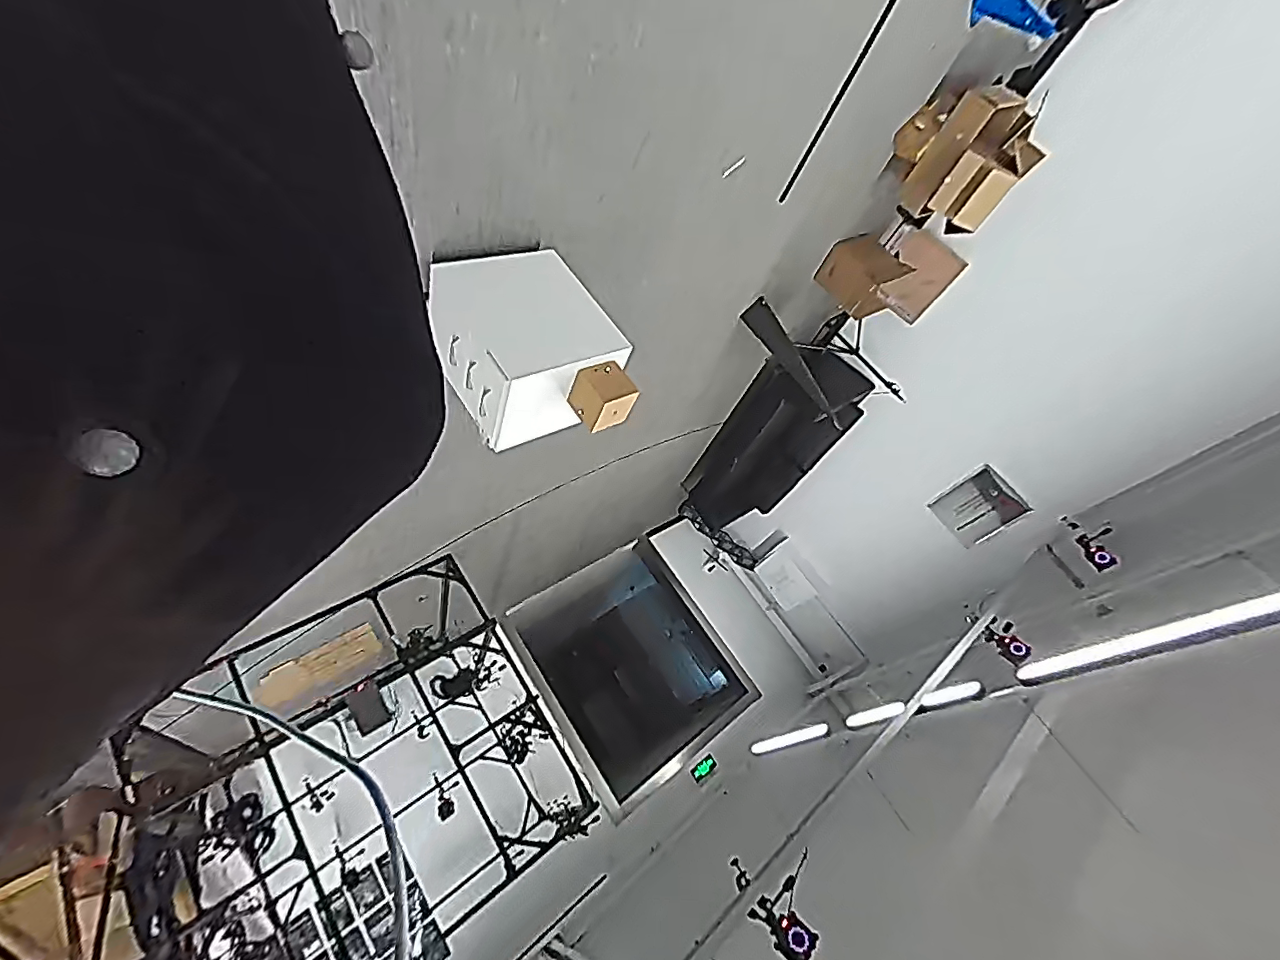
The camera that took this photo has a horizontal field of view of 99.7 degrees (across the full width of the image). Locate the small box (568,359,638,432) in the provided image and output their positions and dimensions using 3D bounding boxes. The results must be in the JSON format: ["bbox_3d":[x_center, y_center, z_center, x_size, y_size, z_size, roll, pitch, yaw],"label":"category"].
[{"bbox_3d":[-0.140,-0.308,1.962,0.168,0.176,0.179,-26,161,-36],"label":"small box"}]
